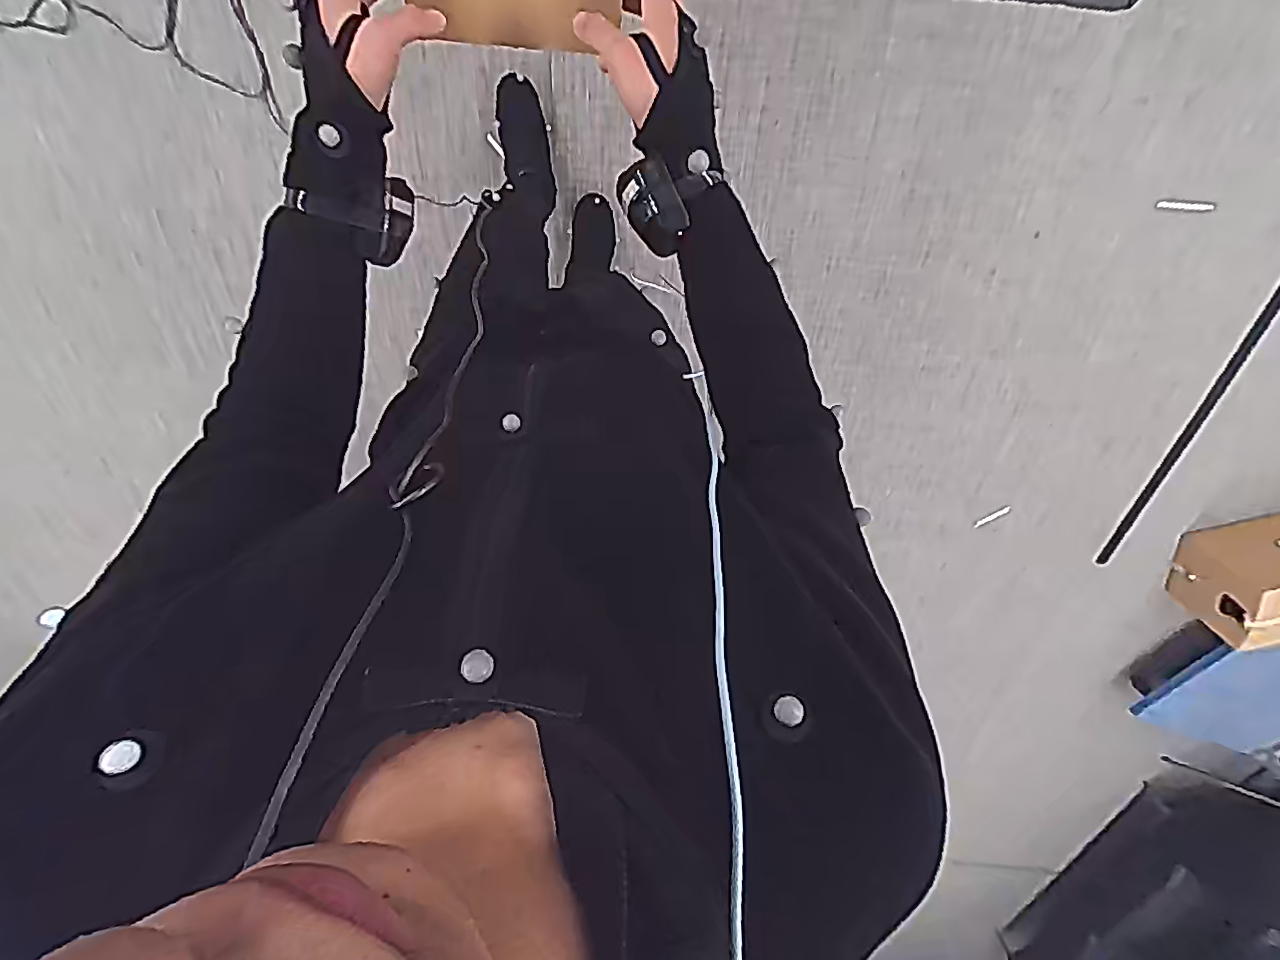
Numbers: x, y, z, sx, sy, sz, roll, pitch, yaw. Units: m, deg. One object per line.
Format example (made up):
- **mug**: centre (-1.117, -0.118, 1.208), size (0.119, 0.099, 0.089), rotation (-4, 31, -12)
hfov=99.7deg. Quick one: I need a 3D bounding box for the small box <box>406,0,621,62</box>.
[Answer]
- **small box**: centre (-0.096, -0.462, 0.422), size (0.168, 0.176, 0.179), rotation (-1, 138, -9)
